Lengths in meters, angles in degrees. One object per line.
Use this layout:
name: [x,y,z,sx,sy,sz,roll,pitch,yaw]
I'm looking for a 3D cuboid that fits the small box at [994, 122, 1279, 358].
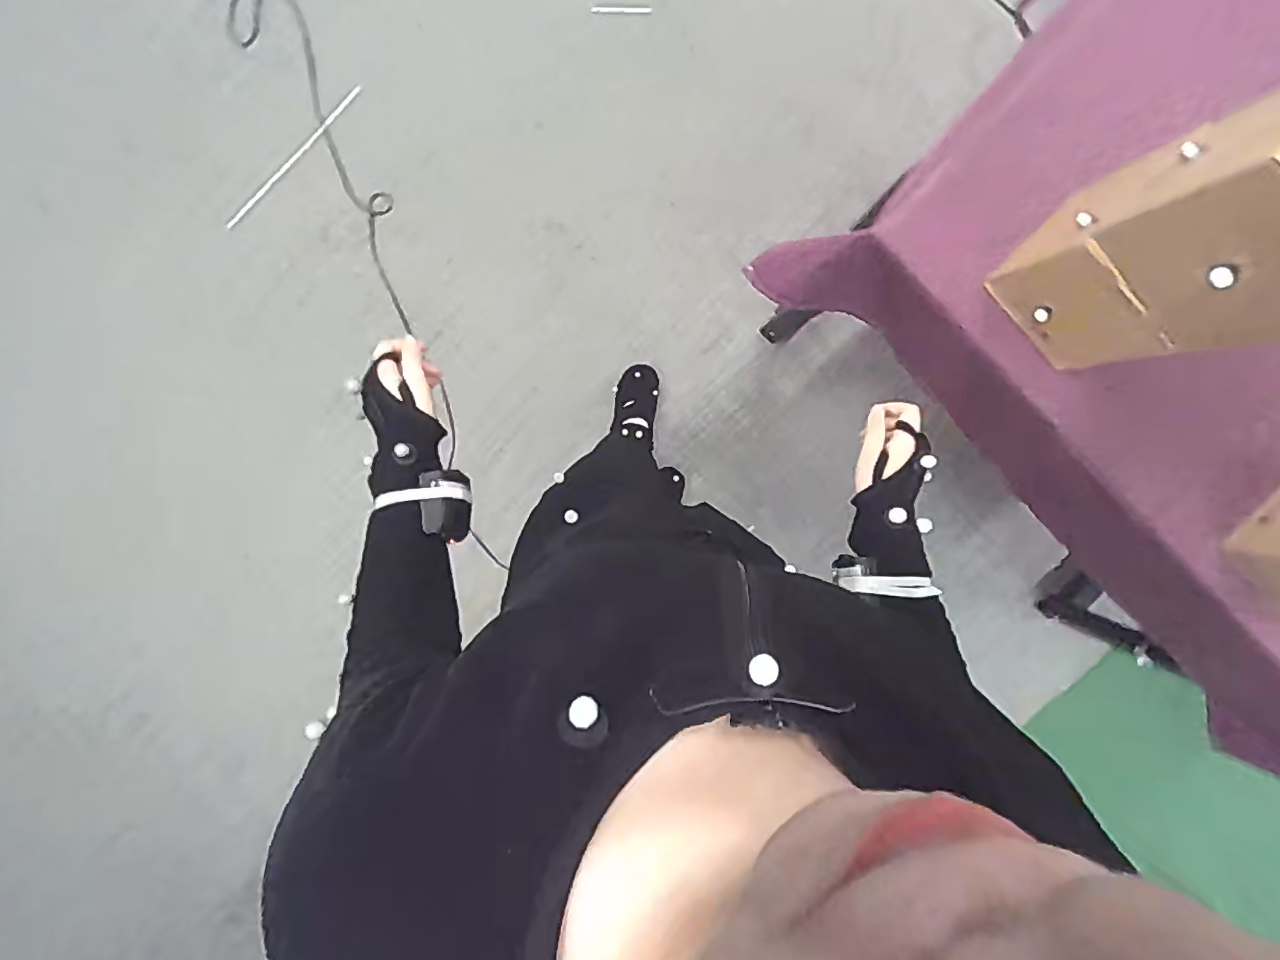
small box: [0.592,-0.272,0.660,0.168,0.176,0.179,44,94,-5]
